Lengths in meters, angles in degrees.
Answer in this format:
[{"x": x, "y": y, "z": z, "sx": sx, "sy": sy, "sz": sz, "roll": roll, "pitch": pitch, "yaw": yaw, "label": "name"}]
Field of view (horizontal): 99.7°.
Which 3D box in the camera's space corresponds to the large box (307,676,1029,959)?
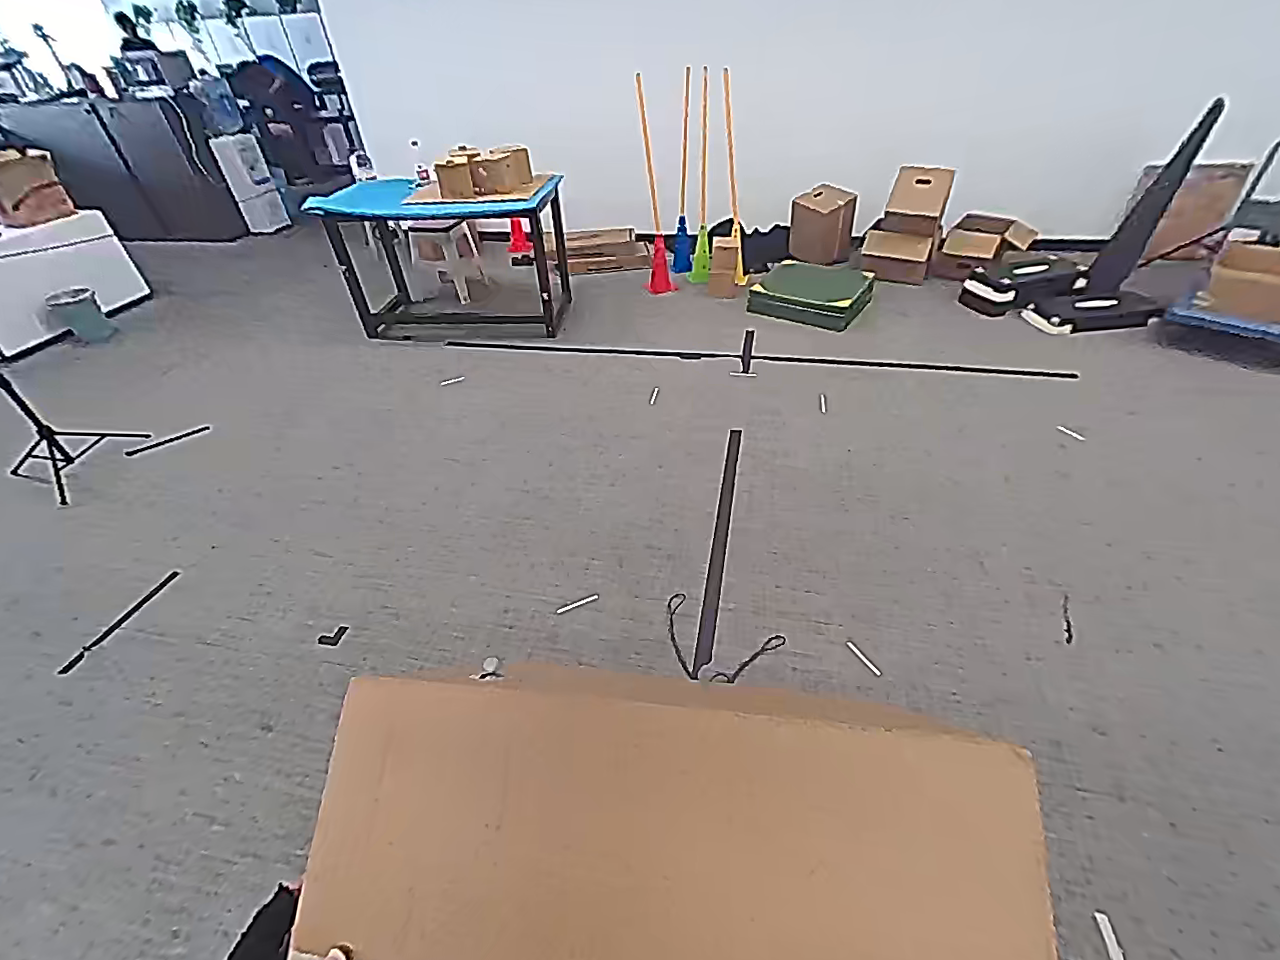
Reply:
[{"x": 0.015, "y": 0.335, "z": 0.431, "sx": 0.408, "sy": 0.320, "sz": 0.320, "roll": 3, "pitch": 74, "yaw": 8, "label": "large box"}]
